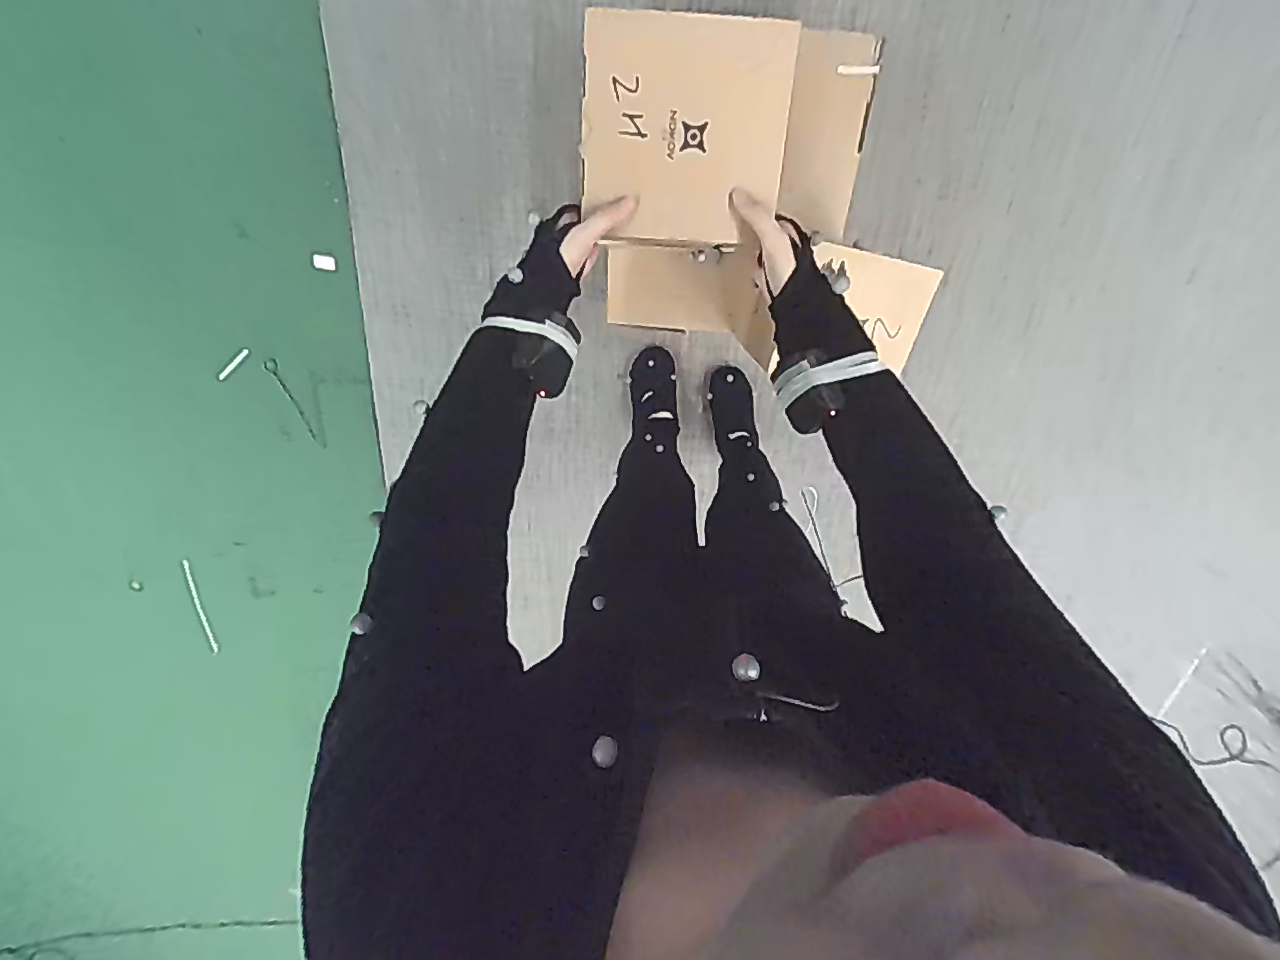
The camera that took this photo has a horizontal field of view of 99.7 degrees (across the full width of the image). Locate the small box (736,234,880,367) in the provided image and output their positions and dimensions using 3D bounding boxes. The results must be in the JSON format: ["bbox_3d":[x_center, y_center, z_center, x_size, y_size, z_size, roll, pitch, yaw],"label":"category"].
[{"bbox_3d":[0.263,-0.300,0.897,0.168,0.176,0.179,7,114,-3],"label":"small box"}]

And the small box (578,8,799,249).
[{"bbox_3d":[0.037,-0.325,0.535,0.179,0.176,0.168,4,112,0],"label":"small box"}]
